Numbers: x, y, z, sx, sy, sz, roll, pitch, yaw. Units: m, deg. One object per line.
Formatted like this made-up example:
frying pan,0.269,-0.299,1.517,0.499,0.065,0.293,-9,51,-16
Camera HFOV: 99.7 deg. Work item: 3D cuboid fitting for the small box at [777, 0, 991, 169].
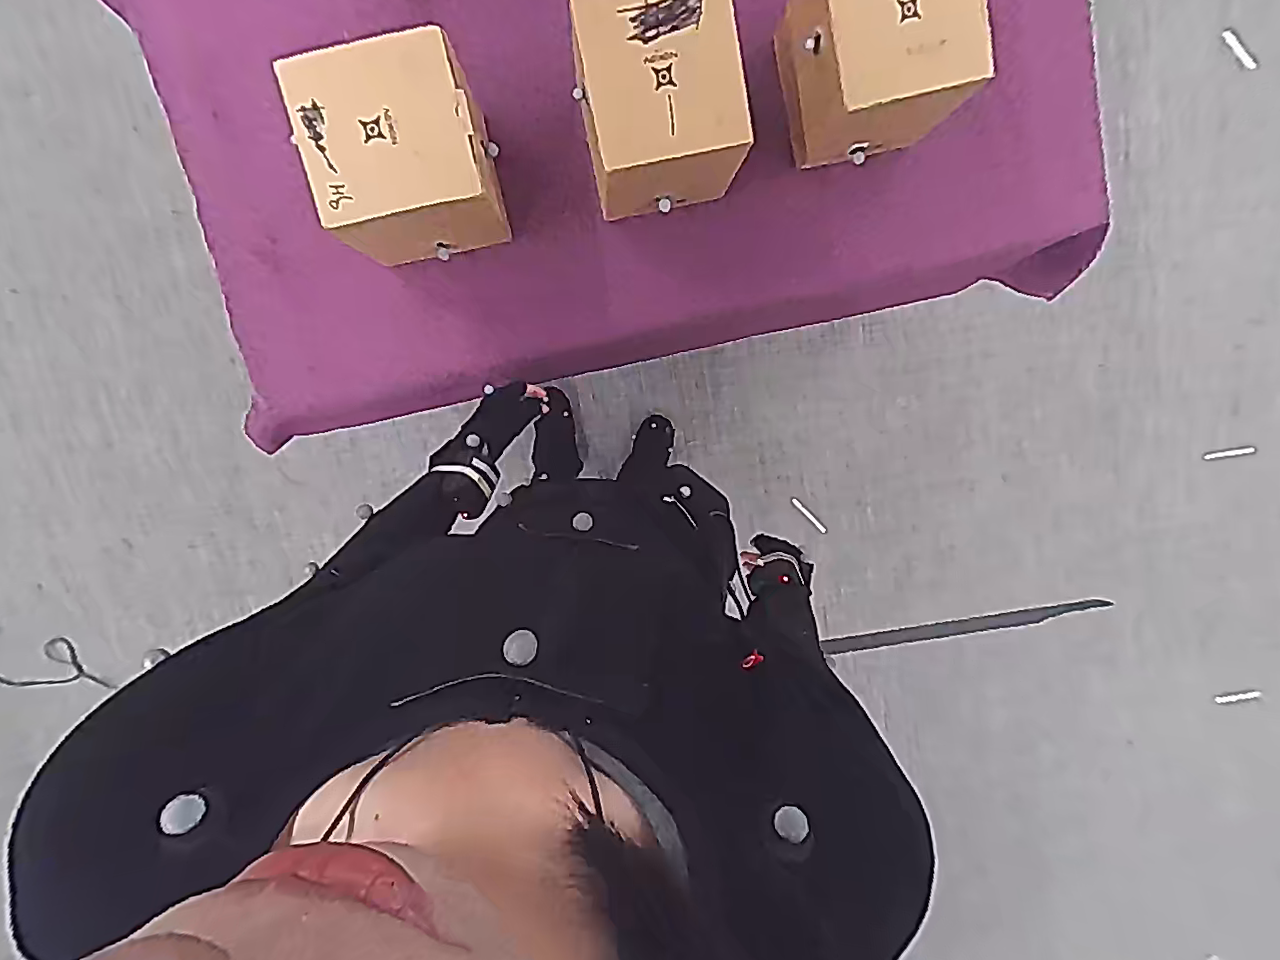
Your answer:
small box,0.276,-0.512,0.647,0.168,0.176,0.179,-14,99,0

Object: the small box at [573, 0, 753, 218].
small box,0.020,-0.440,0.641,0.168,0.176,0.179,-12,99,-1

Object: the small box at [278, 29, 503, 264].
small box,-0.268,-0.372,0.634,0.179,0.176,0.168,-13,98,-2
